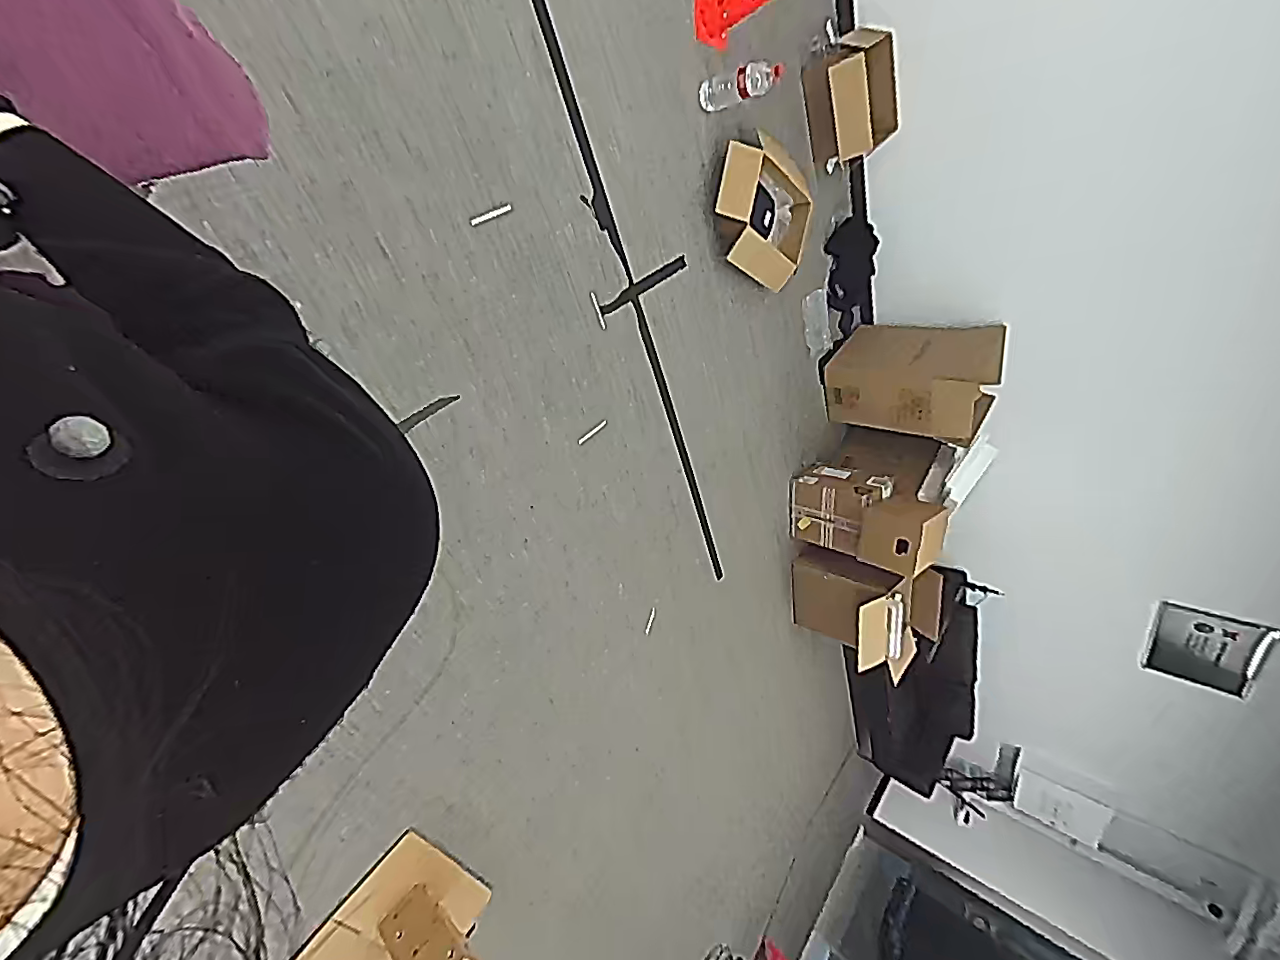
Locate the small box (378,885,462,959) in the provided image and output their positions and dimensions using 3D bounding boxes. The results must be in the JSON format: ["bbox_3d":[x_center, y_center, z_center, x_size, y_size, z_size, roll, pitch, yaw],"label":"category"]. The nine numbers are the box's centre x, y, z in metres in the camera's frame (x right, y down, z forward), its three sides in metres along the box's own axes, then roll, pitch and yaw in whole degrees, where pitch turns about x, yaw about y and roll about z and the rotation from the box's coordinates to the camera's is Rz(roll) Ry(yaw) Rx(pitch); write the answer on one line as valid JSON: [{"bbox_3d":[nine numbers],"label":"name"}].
[{"bbox_3d":[-0.739,1.511,1.810,0.168,0.176,0.179,-40,128,-31],"label":"small box"}]
